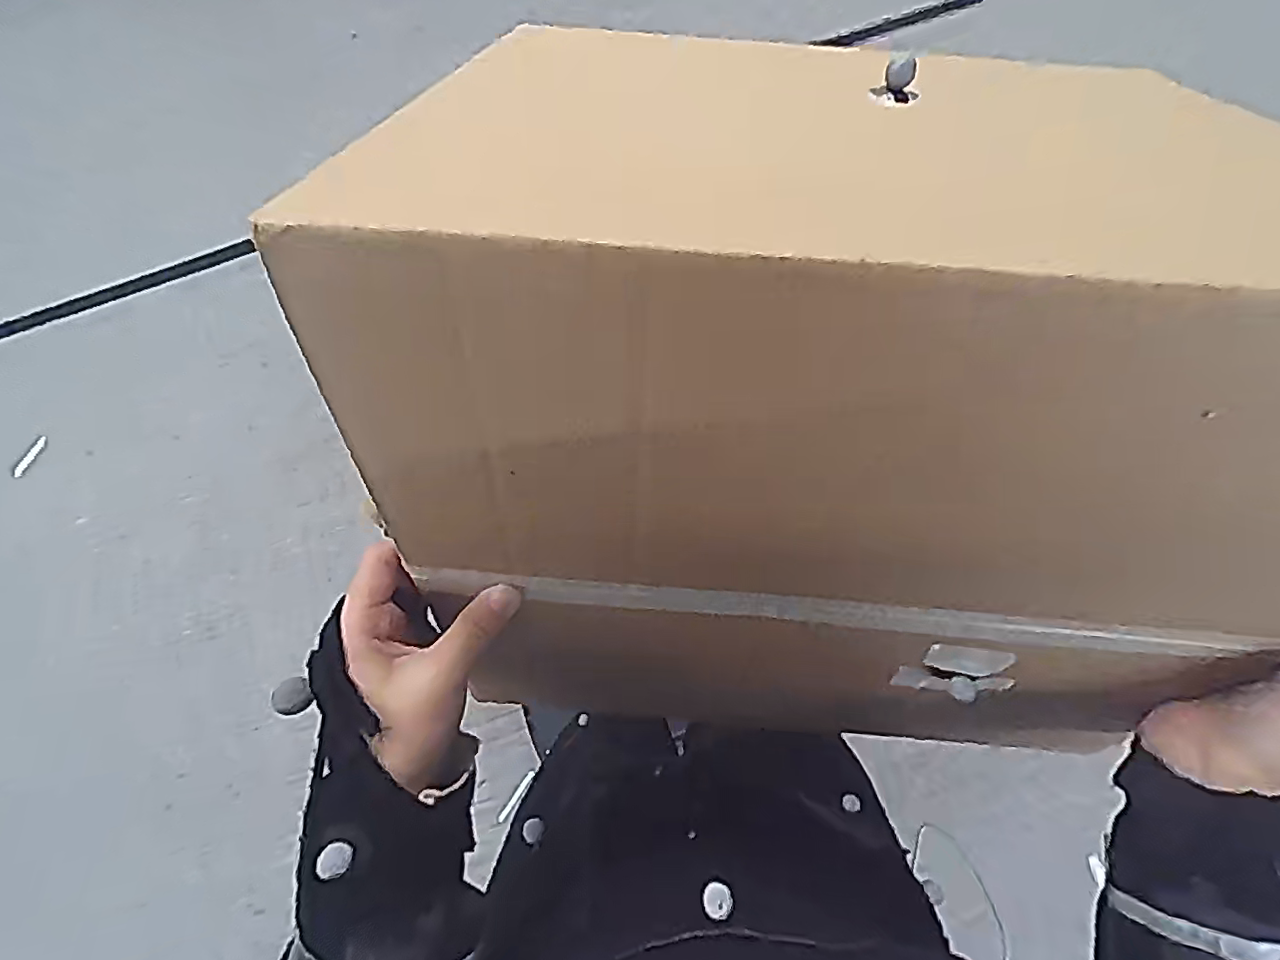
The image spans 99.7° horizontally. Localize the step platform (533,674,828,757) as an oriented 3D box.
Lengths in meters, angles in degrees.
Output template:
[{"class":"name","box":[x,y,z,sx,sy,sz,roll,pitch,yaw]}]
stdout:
[{"class":"step platform","box":[0.094,0.418,1.272,0.684,0.204,0.286,-13,80,-1]}]
